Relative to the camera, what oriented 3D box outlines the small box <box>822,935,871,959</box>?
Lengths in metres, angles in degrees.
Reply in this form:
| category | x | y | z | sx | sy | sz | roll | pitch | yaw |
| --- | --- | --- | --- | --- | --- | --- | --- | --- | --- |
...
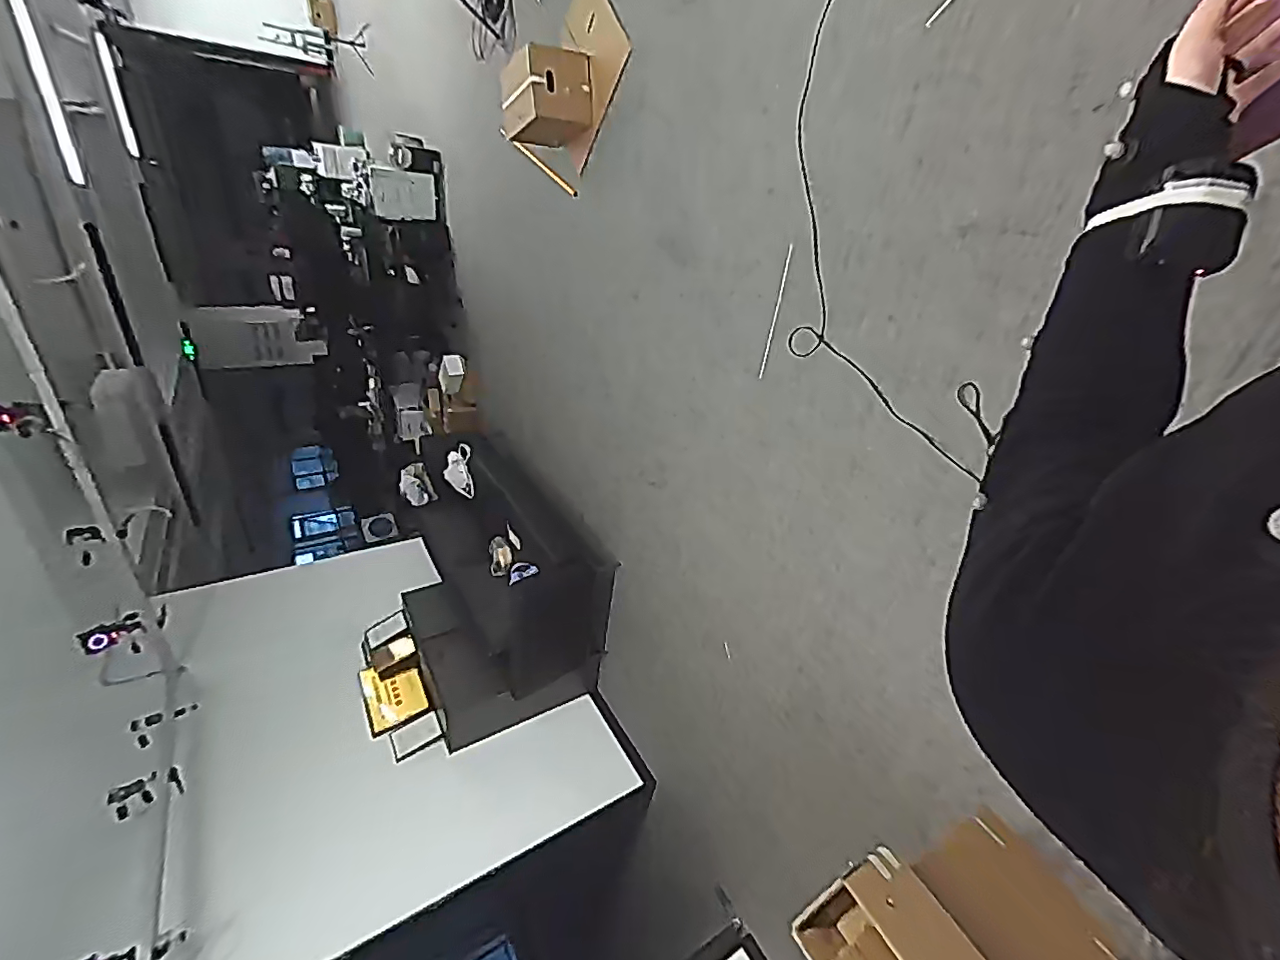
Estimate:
| category | x | y | z | sx | sy | sz | roll | pitch | yaw |
| --- | --- | --- | --- | --- | --- | --- | --- | --- | --- |
| small box | 0.479 | 1.227 | 1.265 | 0.168 | 0.176 | 0.179 | 44 | 135 | 41 |
